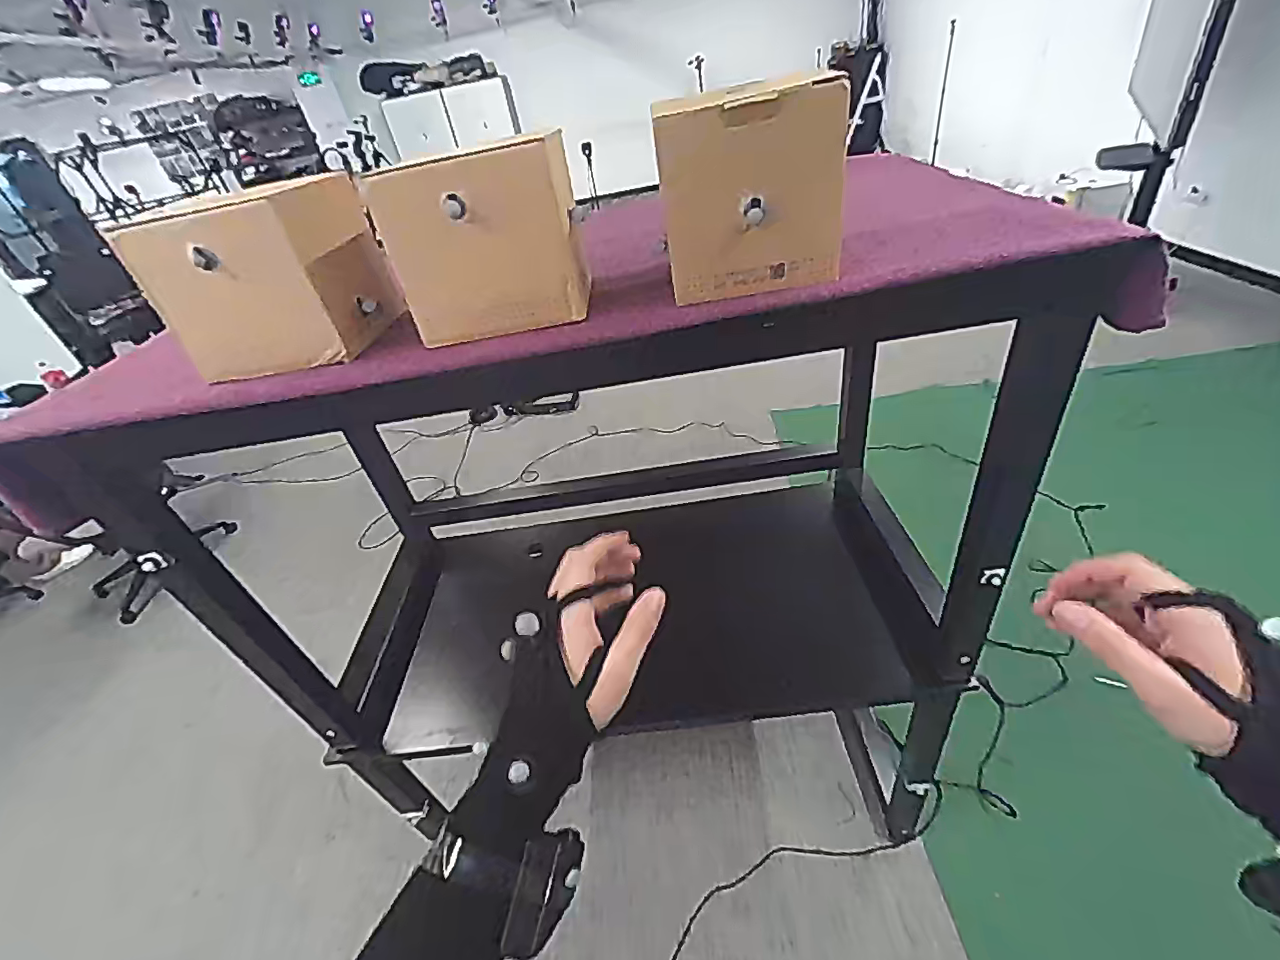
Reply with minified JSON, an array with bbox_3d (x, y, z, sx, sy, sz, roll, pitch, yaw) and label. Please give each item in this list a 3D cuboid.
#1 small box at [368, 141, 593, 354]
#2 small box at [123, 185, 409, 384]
[{"bbox_3d":[-0.155,-0.259,0.603,0.179,0.176,0.168,-10,35,5],"label":"small box"},{"bbox_3d":[-0.405,-0.223,0.625,0.179,0.176,0.168,-7,36,6],"label":"small box"}]
